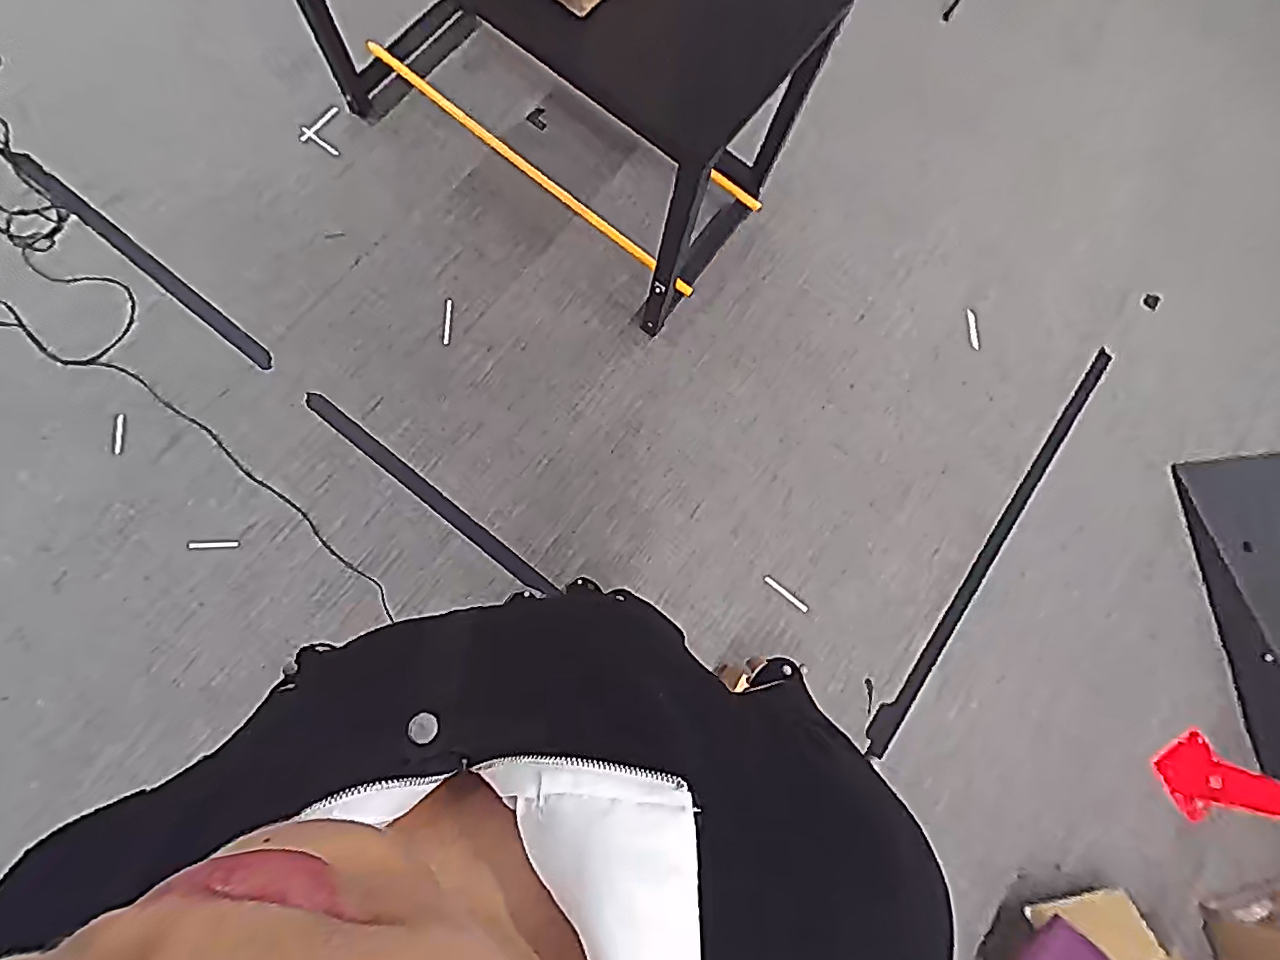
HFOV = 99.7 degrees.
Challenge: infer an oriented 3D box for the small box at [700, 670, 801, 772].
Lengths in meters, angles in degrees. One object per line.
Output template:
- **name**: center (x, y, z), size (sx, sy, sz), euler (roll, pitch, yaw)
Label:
- **small box**: center (0.281, 0.614, 1.406), size (0.179, 0.176, 0.168), euler (31, 77, 1)
